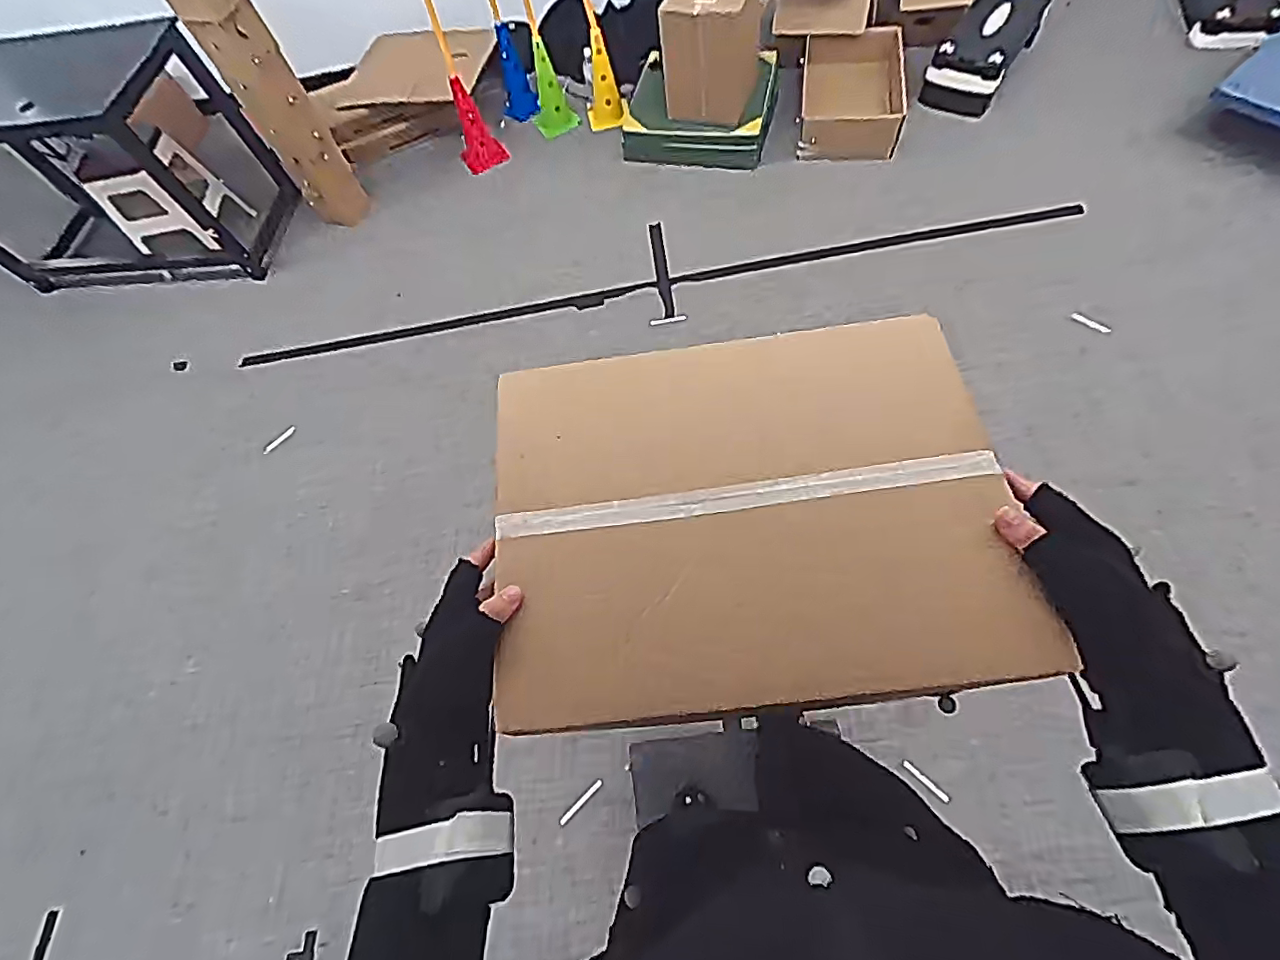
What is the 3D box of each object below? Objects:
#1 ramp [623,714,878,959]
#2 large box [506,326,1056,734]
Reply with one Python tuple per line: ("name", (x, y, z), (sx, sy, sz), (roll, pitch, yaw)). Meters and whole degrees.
("ramp", (0.262, 1.052, 1.141), (0.509, 0.206, 0.991), (-9, 64, 1))
("large box", (0.099, 0.080, 0.583), (0.408, 0.320, 0.320), (-7, 64, 2))
